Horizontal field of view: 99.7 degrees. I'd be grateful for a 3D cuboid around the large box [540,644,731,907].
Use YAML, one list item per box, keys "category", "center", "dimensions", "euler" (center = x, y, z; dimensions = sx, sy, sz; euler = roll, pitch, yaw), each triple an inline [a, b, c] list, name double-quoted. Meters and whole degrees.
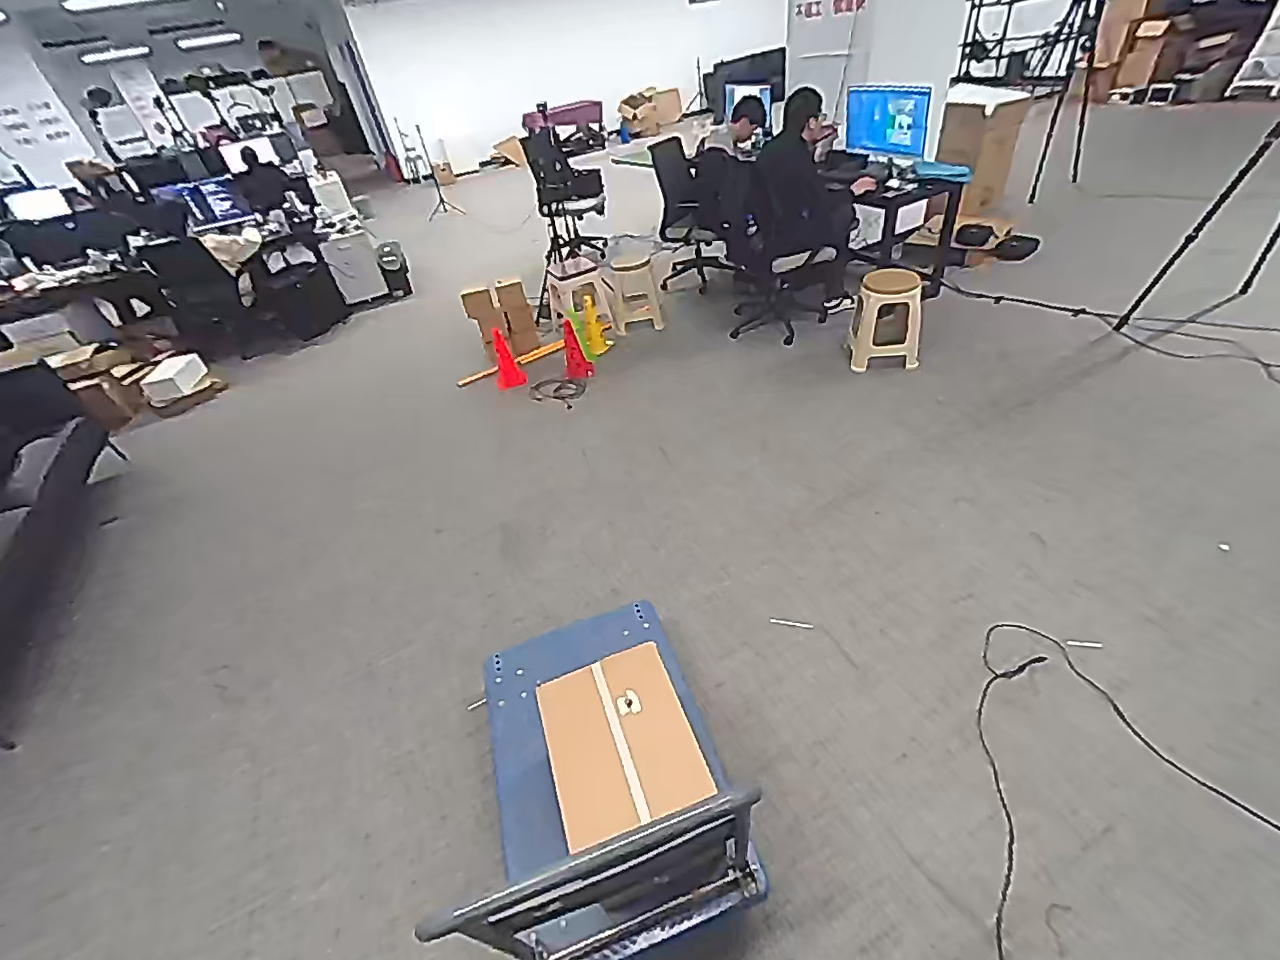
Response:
- category: "large box"
  center: [-0.014, 0.684, 1.282]
  dimensions: [0.320, 0.320, 0.408]
  euler: [-18, 40, -10]
